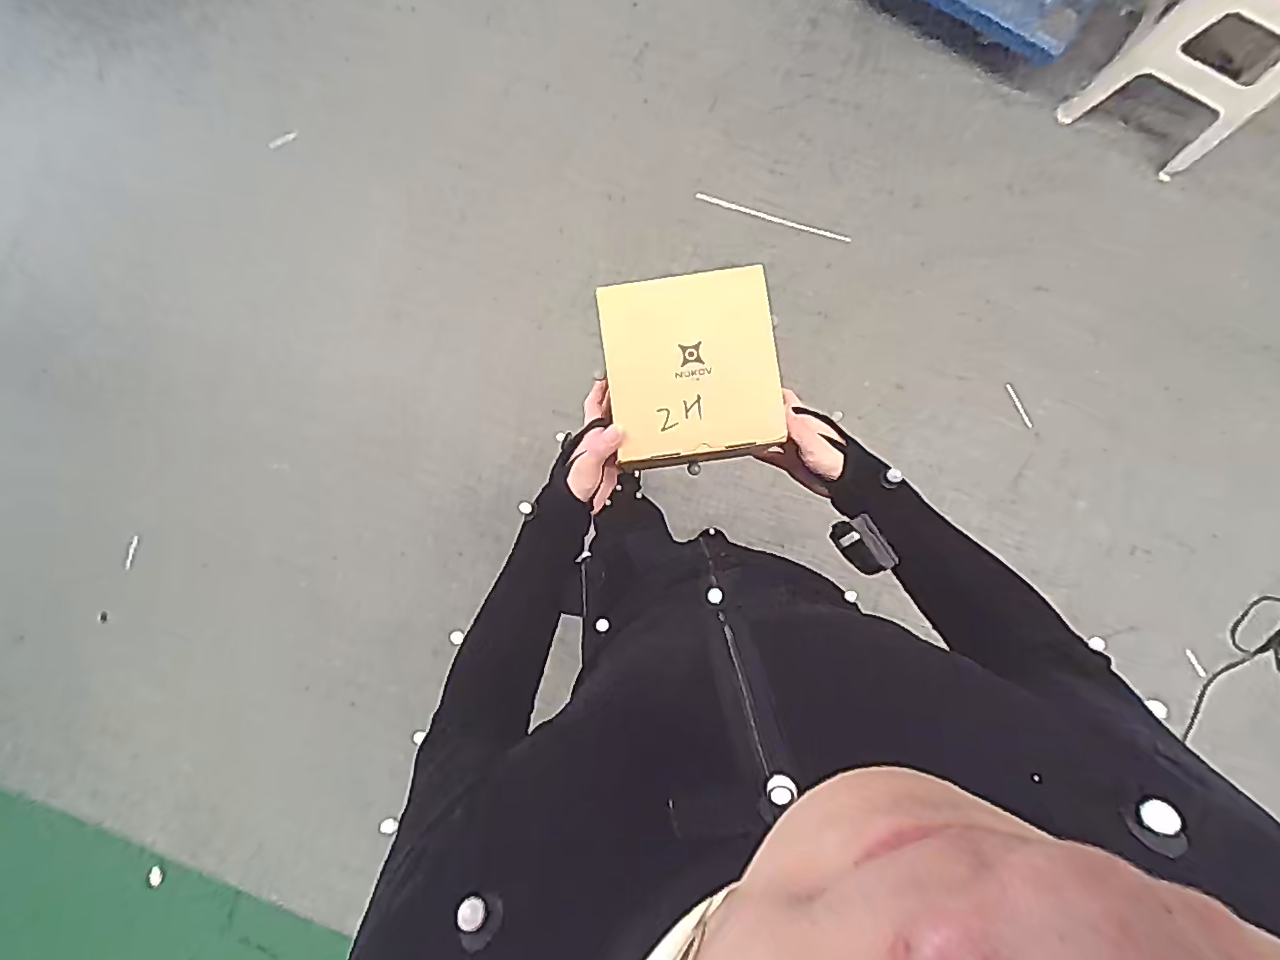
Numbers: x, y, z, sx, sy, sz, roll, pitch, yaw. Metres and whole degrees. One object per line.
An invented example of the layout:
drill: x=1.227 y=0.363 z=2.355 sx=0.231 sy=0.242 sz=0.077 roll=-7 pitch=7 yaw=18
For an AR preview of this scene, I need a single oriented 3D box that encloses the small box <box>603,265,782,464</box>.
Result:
small box: x=0.051 y=-0.117 z=0.612 sx=0.168 sy=0.176 sz=0.179 roll=-6 pitch=88 yaw=1
